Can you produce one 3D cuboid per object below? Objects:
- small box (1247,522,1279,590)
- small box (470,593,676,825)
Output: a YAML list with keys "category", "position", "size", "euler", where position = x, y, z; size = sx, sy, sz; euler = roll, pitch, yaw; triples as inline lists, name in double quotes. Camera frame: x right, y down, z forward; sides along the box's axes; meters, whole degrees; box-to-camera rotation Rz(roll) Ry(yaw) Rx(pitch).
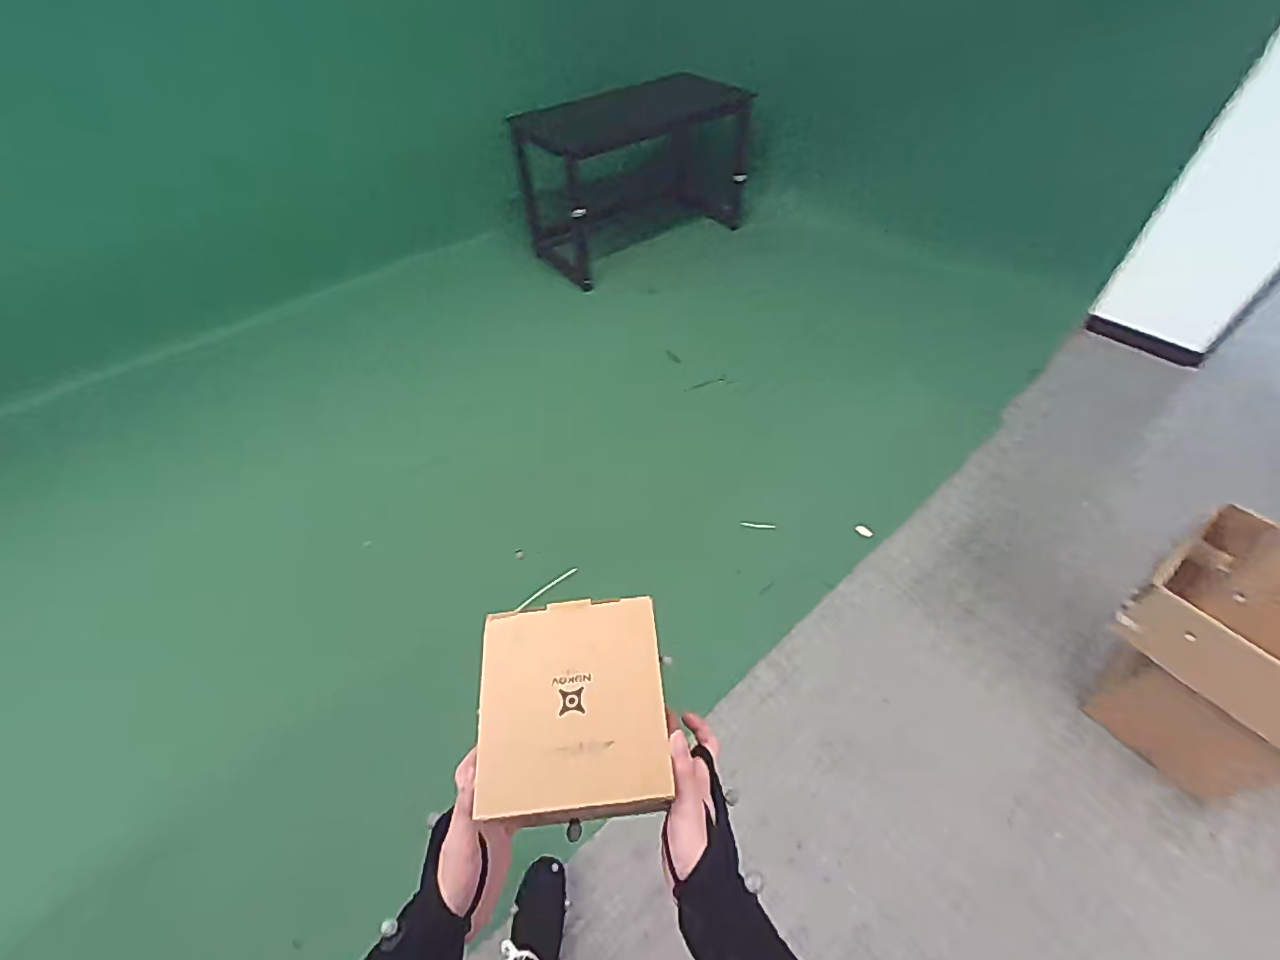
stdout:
- category: "small box"
  position: [1.374, 0.141, 1.060]
  size: [0.179, 0.176, 0.168]
  euler: [-31, 54, -22]
- category: "small box"
  position: [-0.057, 0.232, 0.539]
  size: [0.168, 0.176, 0.179]
  euler: [-5, 55, -1]
